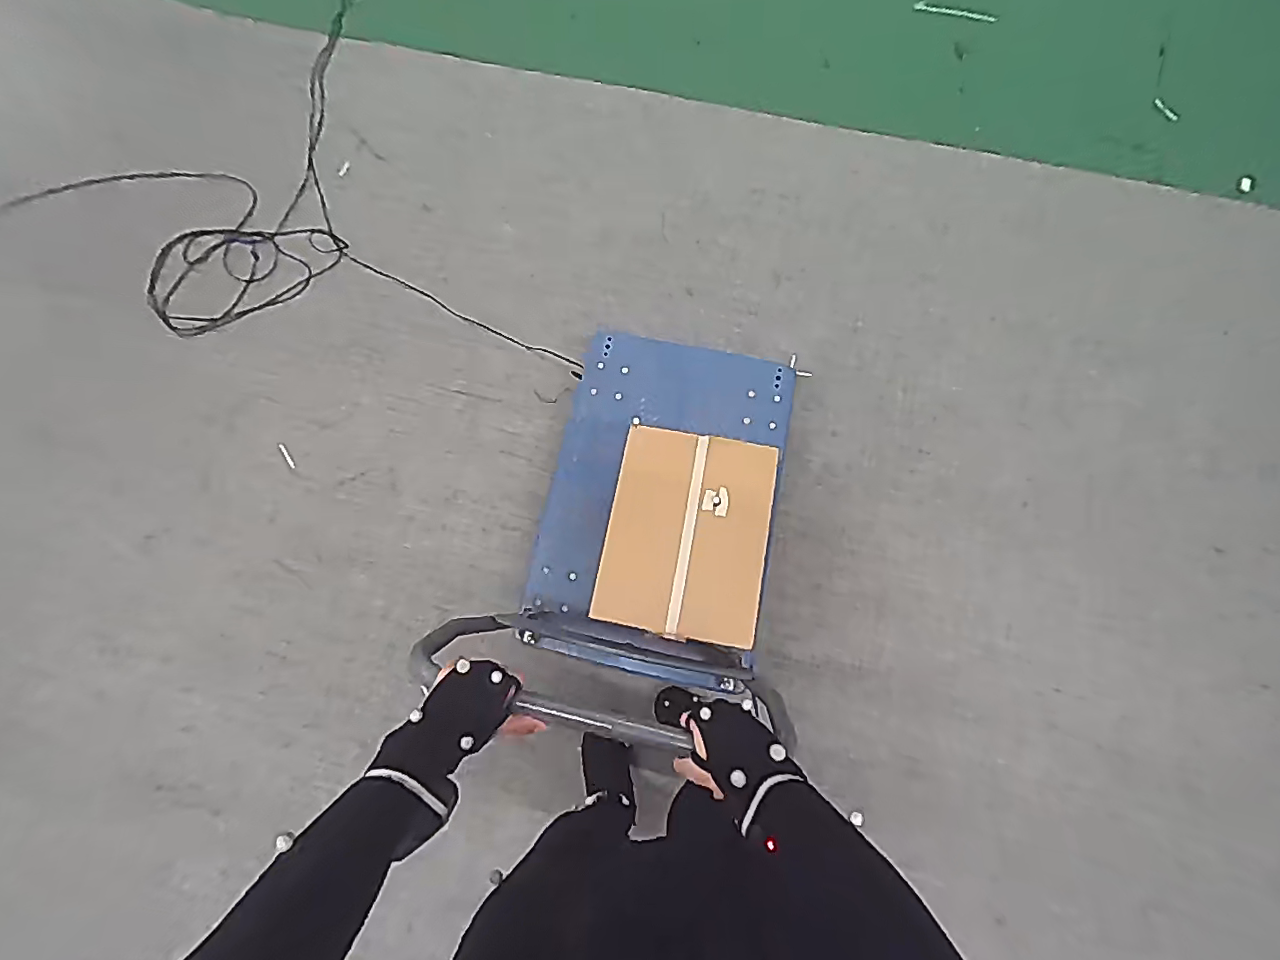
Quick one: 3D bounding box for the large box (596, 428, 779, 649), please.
[{"bbox_3d":[0.106,0.147,1.204,0.320,0.320,0.408,11,73,5],"label":"large box"}]
